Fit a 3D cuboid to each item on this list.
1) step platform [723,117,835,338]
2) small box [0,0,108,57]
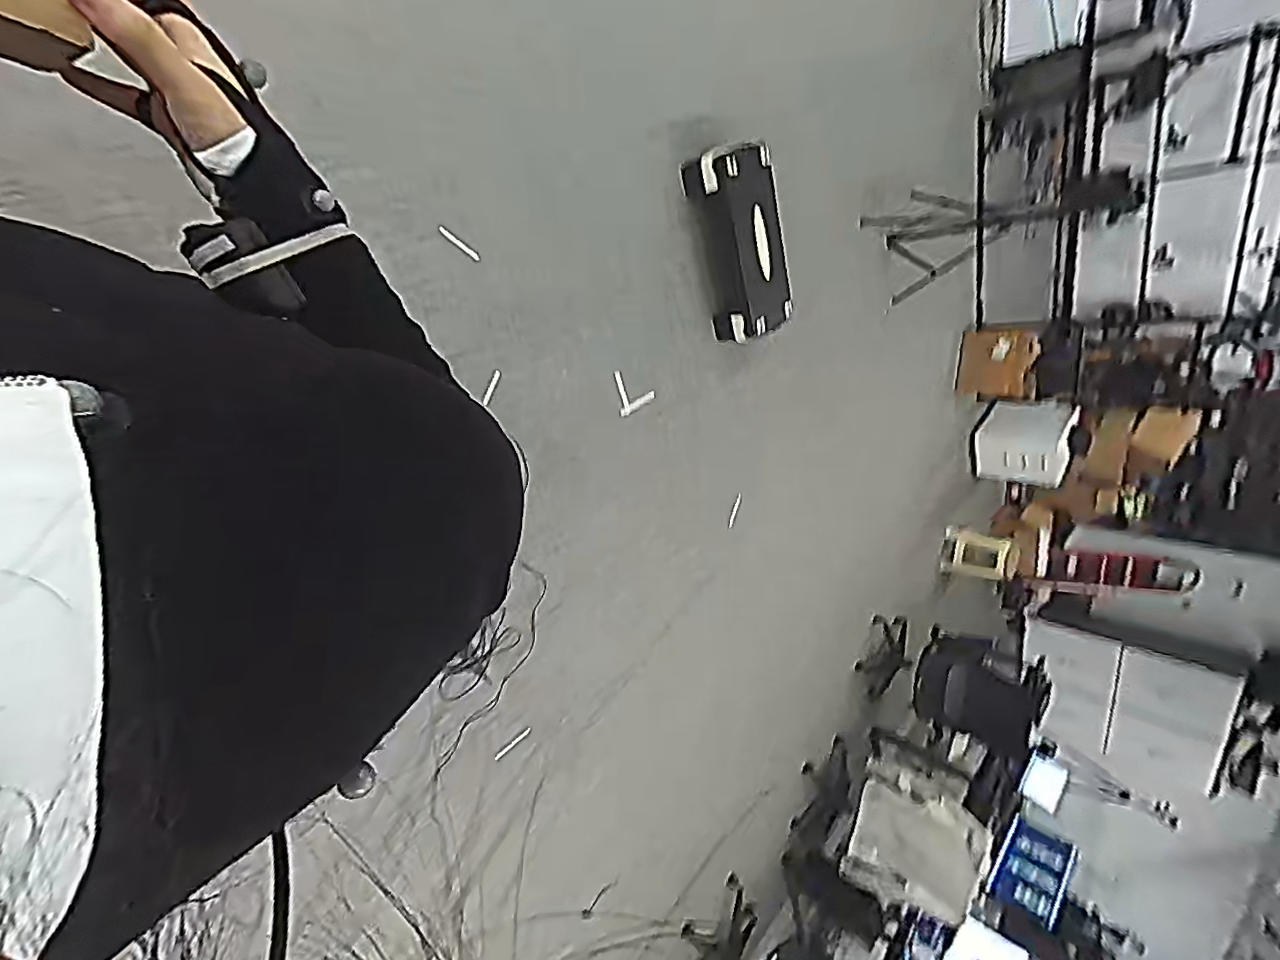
[{"bbox_3d":[0.503,-0.868,1.926,0.286,0.204,0.684,-35,122,-32],"label":"step platform"},{"bbox_3d":[-0.355,-0.313,0.226,0.179,0.176,0.168,-5,115,-50],"label":"small box"}]
